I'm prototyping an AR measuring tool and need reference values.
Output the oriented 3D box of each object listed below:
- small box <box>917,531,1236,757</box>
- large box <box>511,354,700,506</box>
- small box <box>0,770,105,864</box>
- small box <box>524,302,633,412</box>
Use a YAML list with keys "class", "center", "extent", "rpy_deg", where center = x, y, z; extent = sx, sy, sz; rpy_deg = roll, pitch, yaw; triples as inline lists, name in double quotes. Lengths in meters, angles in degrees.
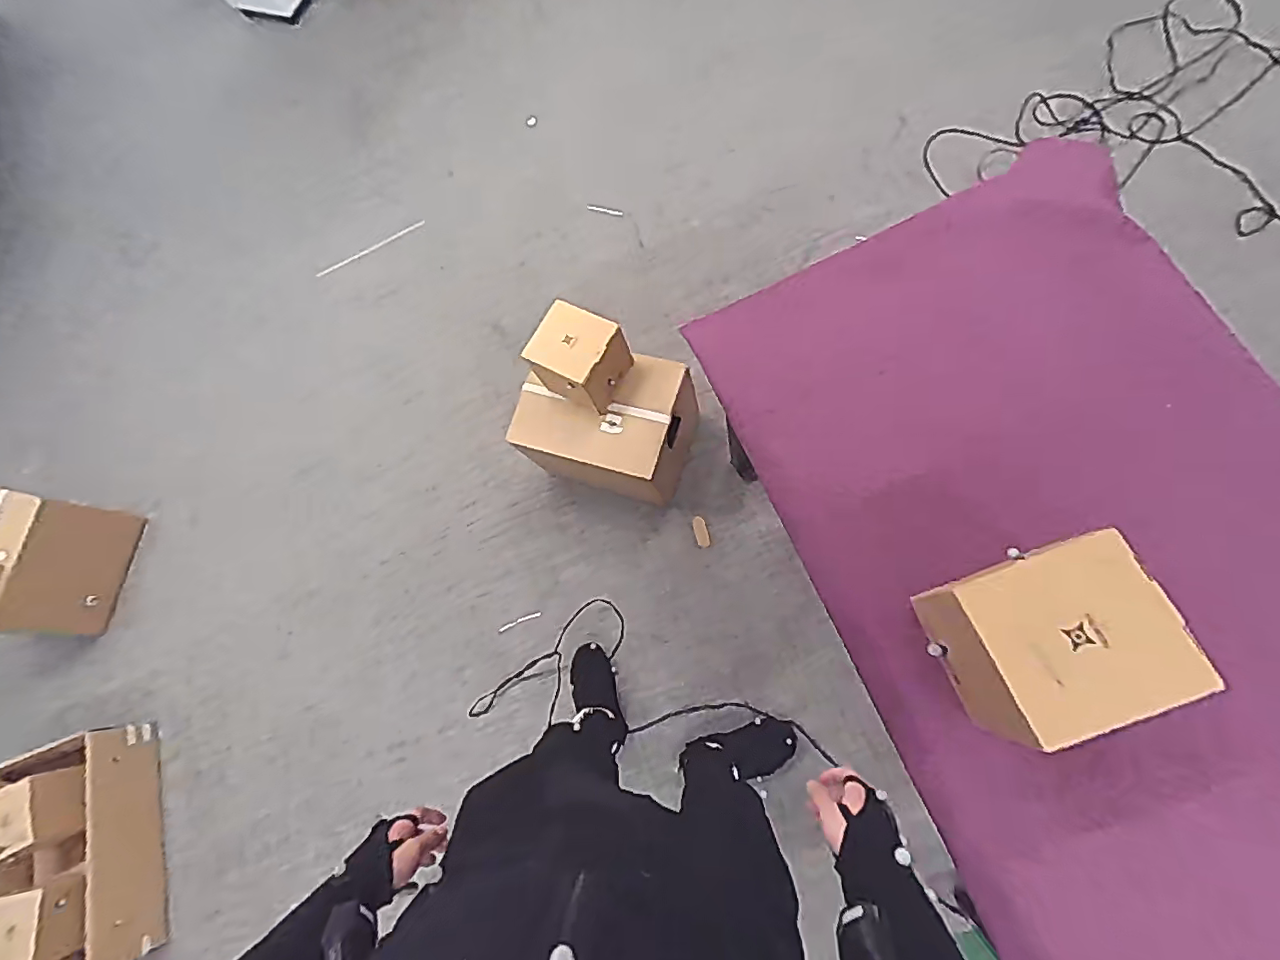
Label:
- class: "small box"
  center: [0.442, 0.172, 0.587]
  extent: [0.179, 0.176, 0.168]
  rpy_deg: [-22, 70, 4]
- class: "large box"
  center: [-0.075, -0.149, 1.491]
  extent: [0.408, 0.320, 0.320]
  rpy_deg: [15, 79, 15]
- class: "small box"
  center: [-1.682, 0.947, 1.533]
  extent: [0.168, 0.176, 0.179]
  rpy_deg: [-27, 71, 3]
- class: "small box"
  center: [-0.139, -0.285, 1.285]
  extent: [0.179, 0.176, 0.168]
  rpy_deg: [27, 79, 17]
